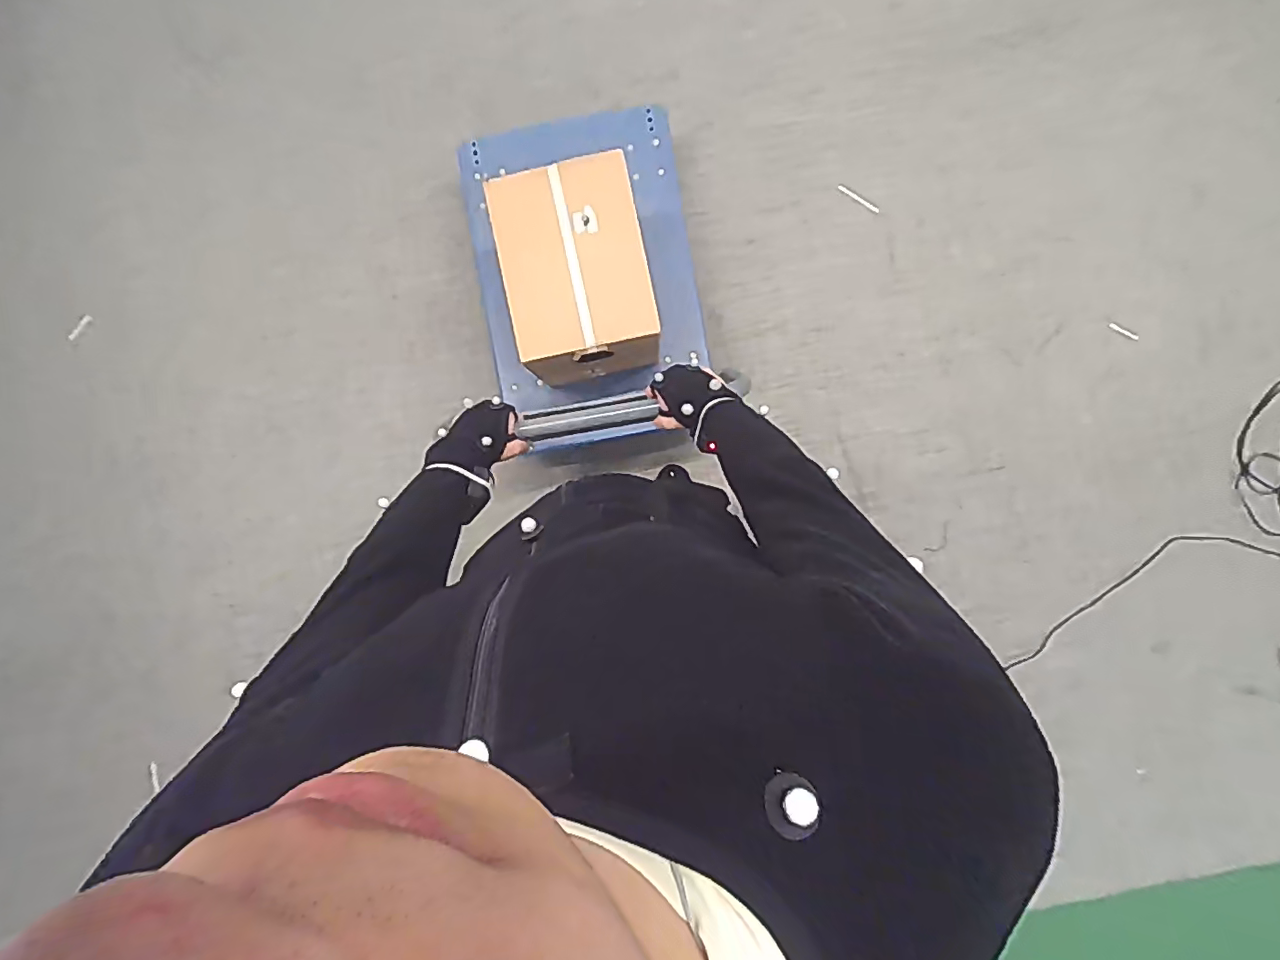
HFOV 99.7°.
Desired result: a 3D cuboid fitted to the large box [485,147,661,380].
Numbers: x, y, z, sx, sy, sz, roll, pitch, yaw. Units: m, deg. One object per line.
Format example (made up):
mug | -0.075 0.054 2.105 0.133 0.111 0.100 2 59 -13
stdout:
large box | -0.140 -0.493 1.316 0.320 0.320 0.408 -12 91 2
